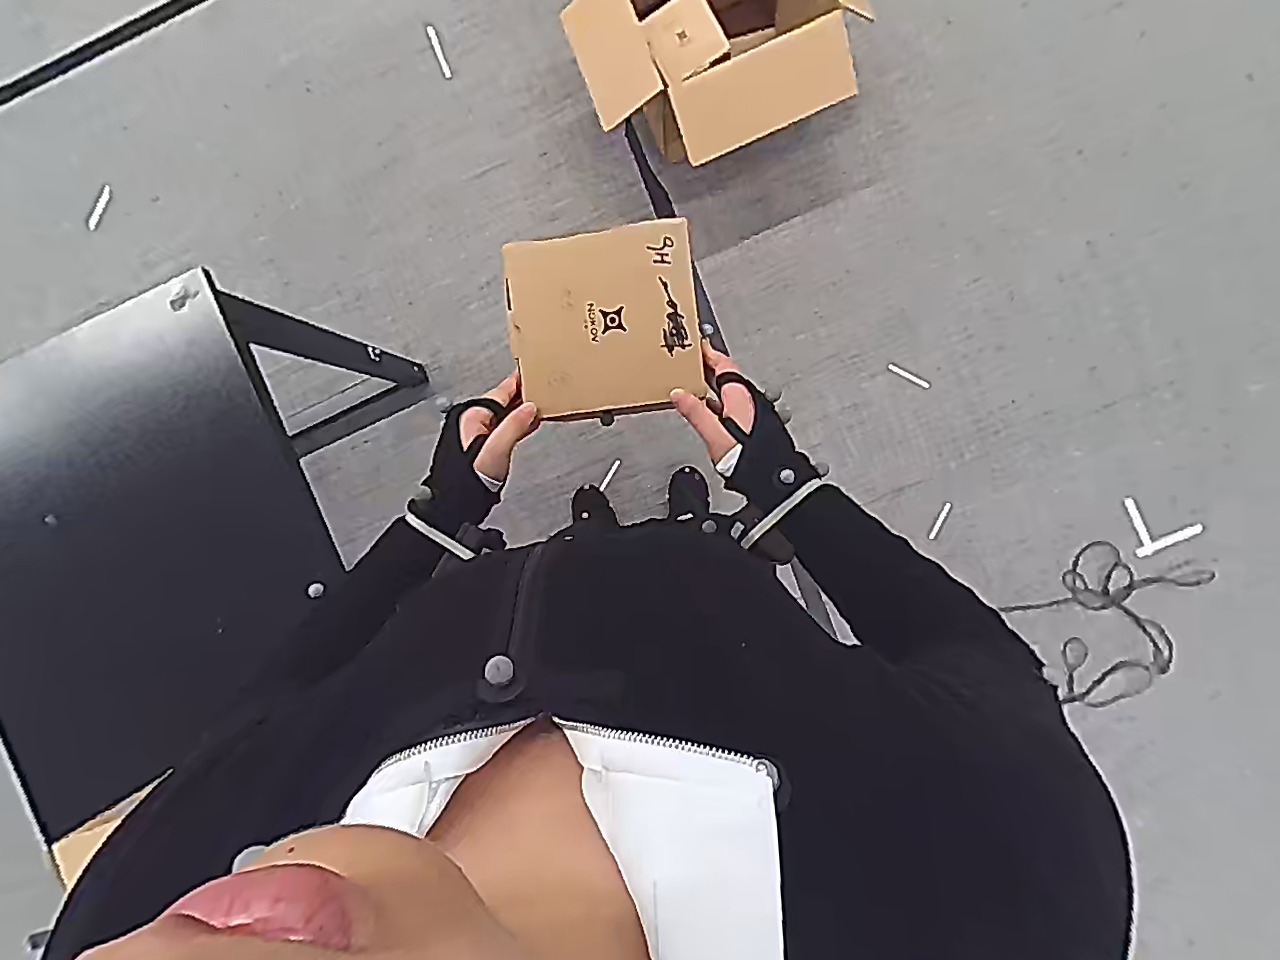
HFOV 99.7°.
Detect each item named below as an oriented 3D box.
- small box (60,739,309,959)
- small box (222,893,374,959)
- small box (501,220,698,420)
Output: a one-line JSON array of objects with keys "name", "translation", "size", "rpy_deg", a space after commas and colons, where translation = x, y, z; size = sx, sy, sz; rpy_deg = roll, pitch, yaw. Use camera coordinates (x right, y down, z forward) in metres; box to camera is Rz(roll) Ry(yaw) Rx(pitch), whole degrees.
[{"name": "small box", "translation": [-0.608, 0.488, 0.745], "size": [0.168, 0.176, 0.179], "rpy_deg": [-23, 90, 5]}, {"name": "small box", "translation": [-0.502, 0.733, 0.748], "size": [0.179, 0.176, 0.168], "rpy_deg": [-25, 91, 3]}, {"name": "small box", "translation": [-0.032, -0.156, 0.587], "size": [0.179, 0.176, 0.168], "rpy_deg": [-6, 95, 5]}]
